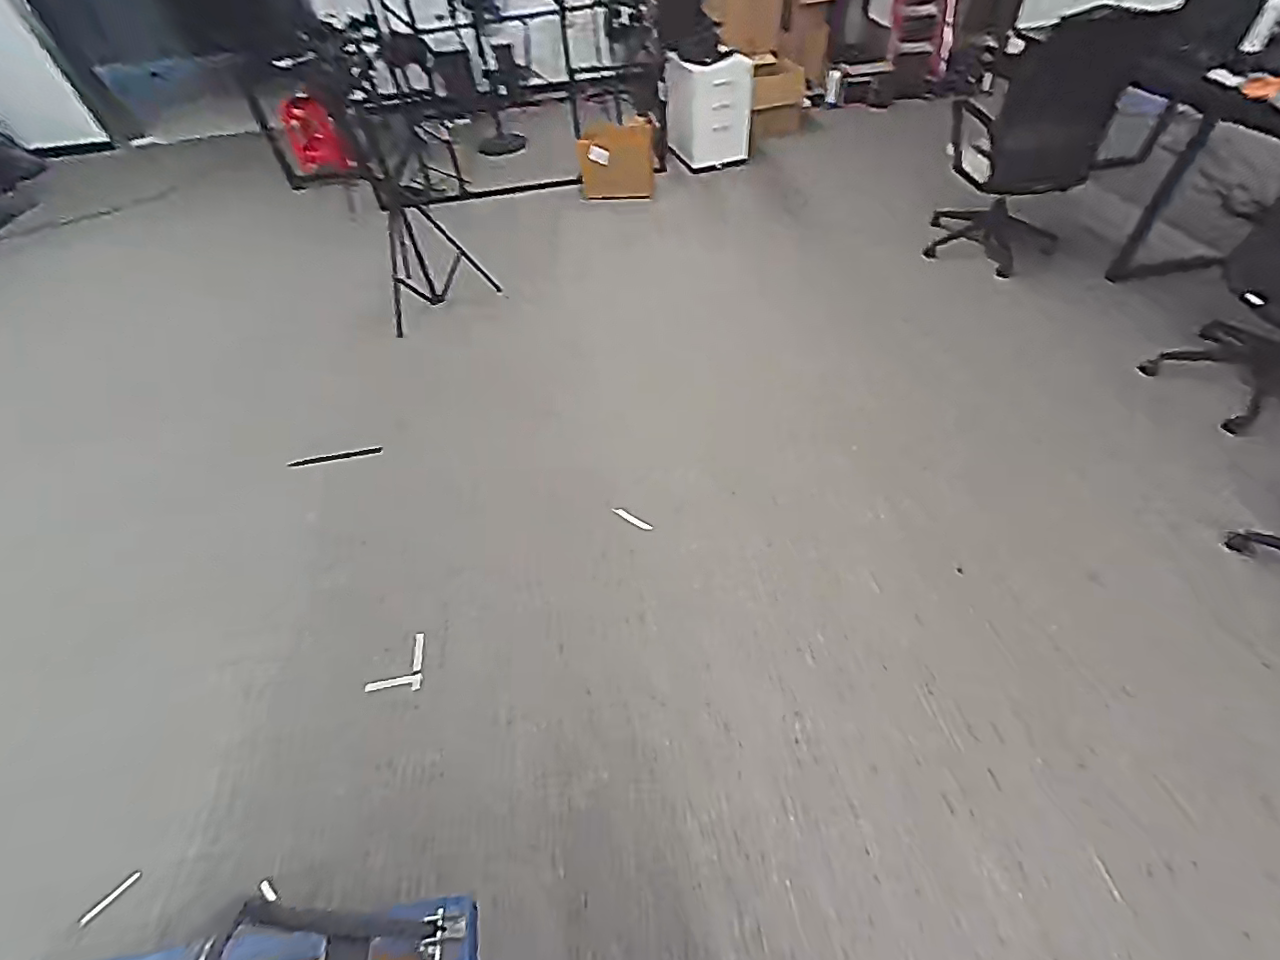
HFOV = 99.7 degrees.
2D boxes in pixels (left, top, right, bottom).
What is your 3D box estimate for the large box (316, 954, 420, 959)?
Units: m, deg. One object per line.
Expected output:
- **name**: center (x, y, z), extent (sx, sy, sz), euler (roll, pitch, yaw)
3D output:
- **large box**: center (-0.535, 0.970, 0.770), extent (0.320, 0.320, 0.408), euler (-8, 47, -3)
